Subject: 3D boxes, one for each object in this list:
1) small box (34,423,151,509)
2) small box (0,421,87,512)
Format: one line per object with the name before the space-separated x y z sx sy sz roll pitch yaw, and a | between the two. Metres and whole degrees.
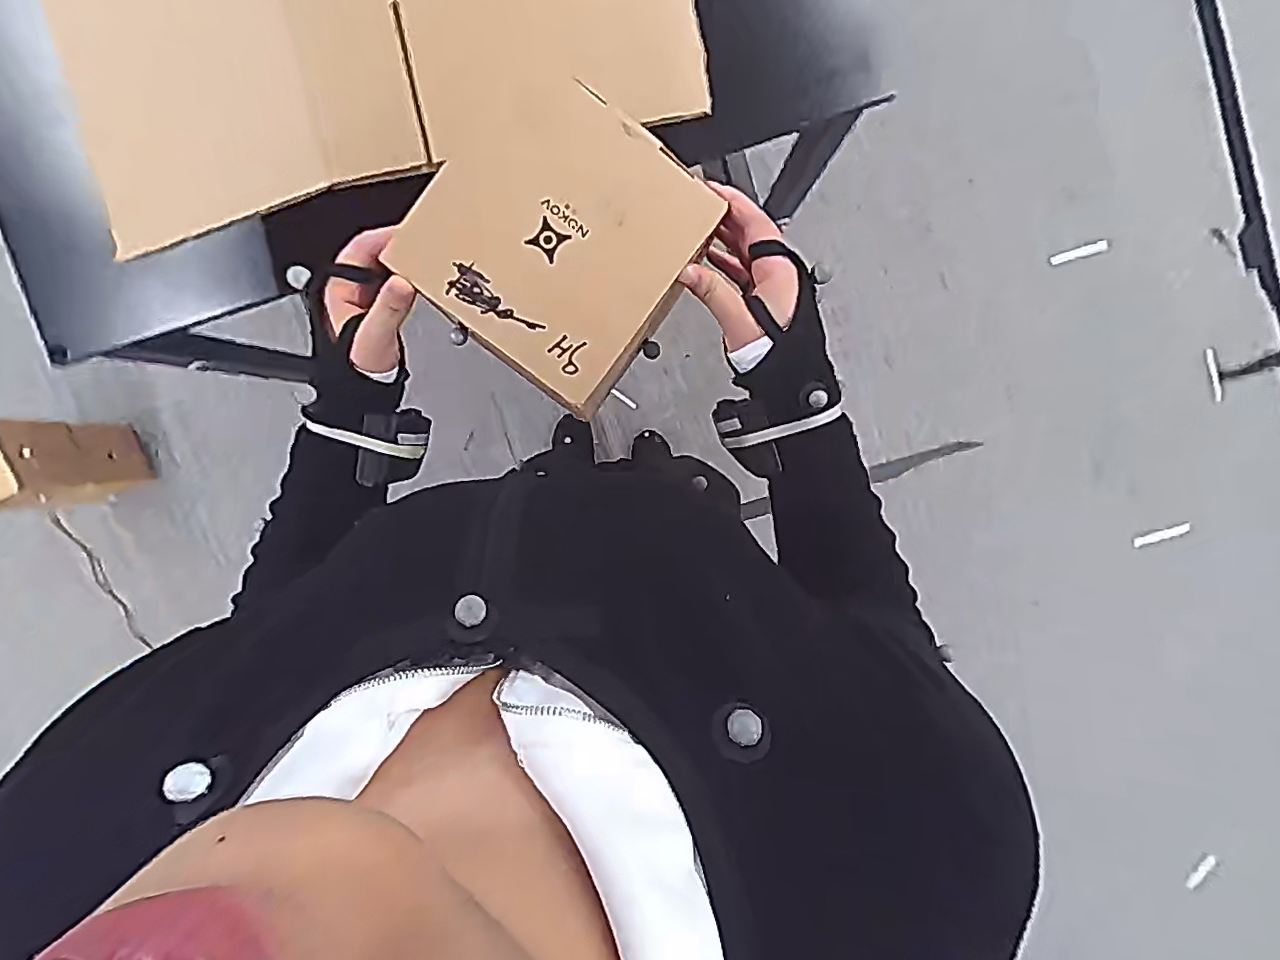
small box | -1.458 -0.040 1.417 0.168 0.176 0.179 -20 95 2
small box | -1.463 -0.031 1.255 0.168 0.176 0.179 -23 93 2
